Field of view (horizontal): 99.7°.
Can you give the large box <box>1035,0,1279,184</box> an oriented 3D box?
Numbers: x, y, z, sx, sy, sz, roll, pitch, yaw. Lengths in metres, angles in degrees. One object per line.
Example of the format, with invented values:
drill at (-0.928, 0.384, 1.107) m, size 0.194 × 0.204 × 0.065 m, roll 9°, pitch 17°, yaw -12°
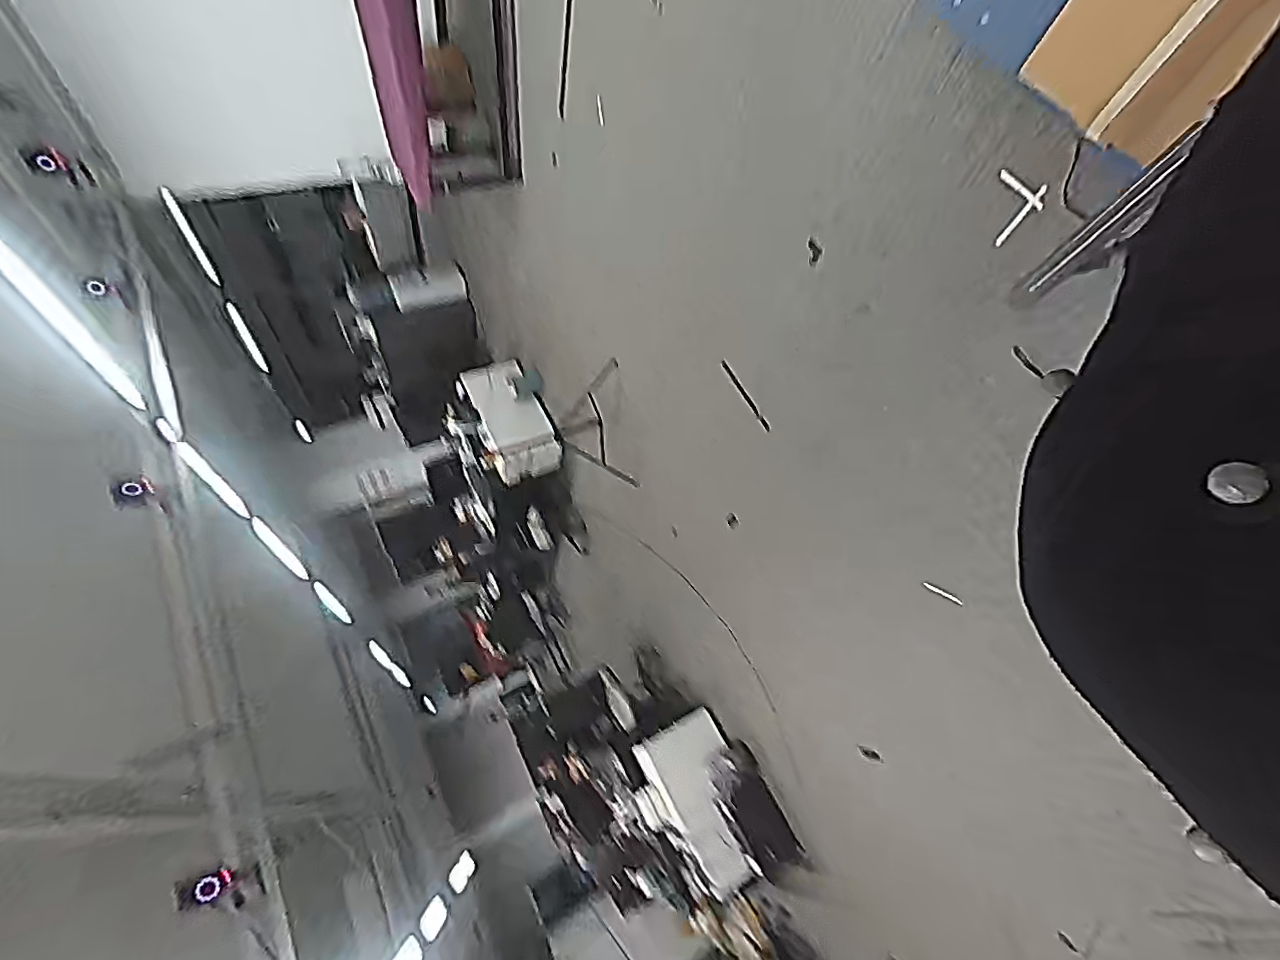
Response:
large box at (0.839, -0.656, 0.671) m, size 0.320 × 0.320 × 0.408 m, roll 58°, pitch 154°, yaw 21°
